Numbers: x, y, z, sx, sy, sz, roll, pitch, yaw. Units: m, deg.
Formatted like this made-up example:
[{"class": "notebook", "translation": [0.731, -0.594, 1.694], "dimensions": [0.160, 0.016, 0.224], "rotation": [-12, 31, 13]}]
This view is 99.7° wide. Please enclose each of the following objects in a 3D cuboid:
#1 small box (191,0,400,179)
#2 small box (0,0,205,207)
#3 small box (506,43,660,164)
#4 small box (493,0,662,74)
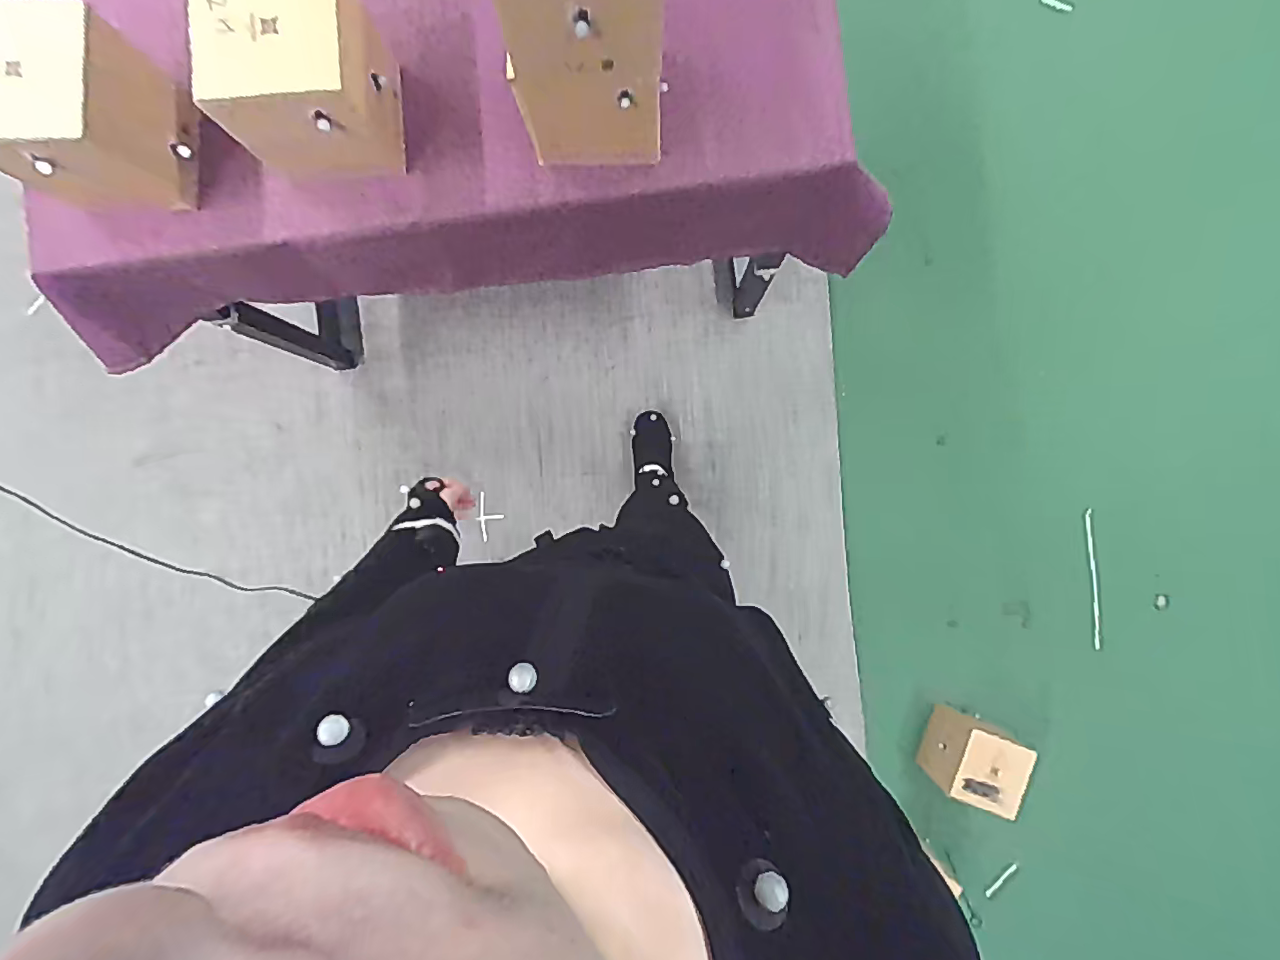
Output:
[{"class": "small box", "translation": [-0.428, -0.520, 0.702], "dimensions": [0.179, 0.176, 0.168], "rotation": [-3, 88, 1]}, {"class": "small box", "translation": [-0.726, -0.479, 0.708], "dimensions": [0.179, 0.176, 0.168], "rotation": [1, 89, 1]}, {"class": "small box", "translation": [-0.063, -0.535, 0.696], "dimensions": [0.179, 0.176, 0.168], "rotation": [0, 89, 1]}, {"class": "small box", "translation": [-0.063, -0.539, 0.532], "dimensions": [0.168, 0.176, 0.179], "rotation": [-4, 89, 0]}]
